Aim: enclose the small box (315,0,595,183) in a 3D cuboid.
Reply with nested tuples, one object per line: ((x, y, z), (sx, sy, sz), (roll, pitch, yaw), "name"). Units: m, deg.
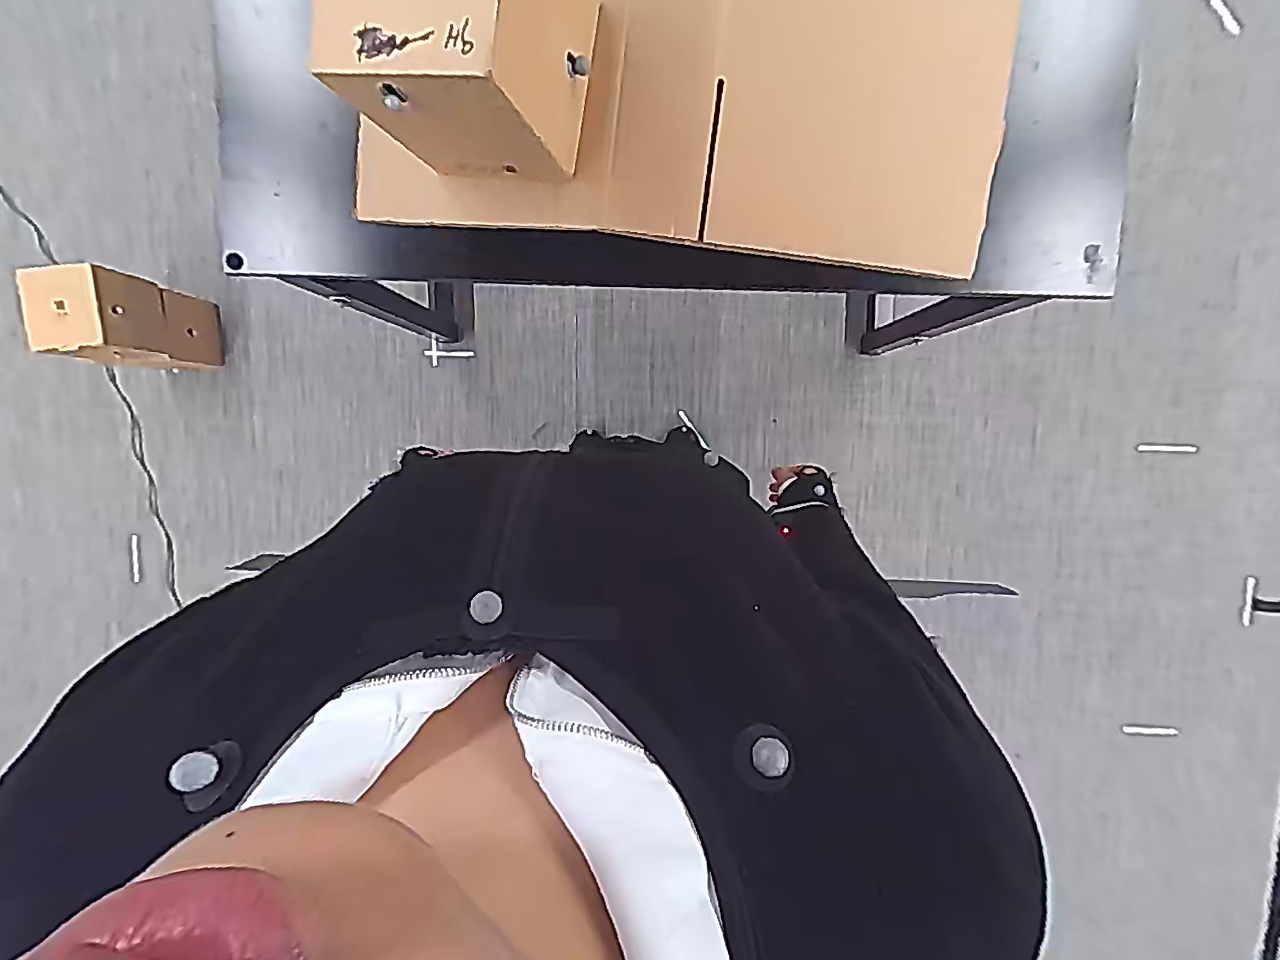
((-0.149, -0.402, 0.487), (0.168, 0.176, 0.179), (11, 96, 14), "small box")

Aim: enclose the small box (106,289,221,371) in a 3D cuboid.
((-1.231, -0.382, 1.398), (0.168, 0.176, 0.179), (-2, 96, 1), "small box")

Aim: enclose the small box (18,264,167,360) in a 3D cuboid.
((-1.235, -0.373, 1.235), (0.168, 0.176, 0.179), (-6, 94, 0), "small box")
